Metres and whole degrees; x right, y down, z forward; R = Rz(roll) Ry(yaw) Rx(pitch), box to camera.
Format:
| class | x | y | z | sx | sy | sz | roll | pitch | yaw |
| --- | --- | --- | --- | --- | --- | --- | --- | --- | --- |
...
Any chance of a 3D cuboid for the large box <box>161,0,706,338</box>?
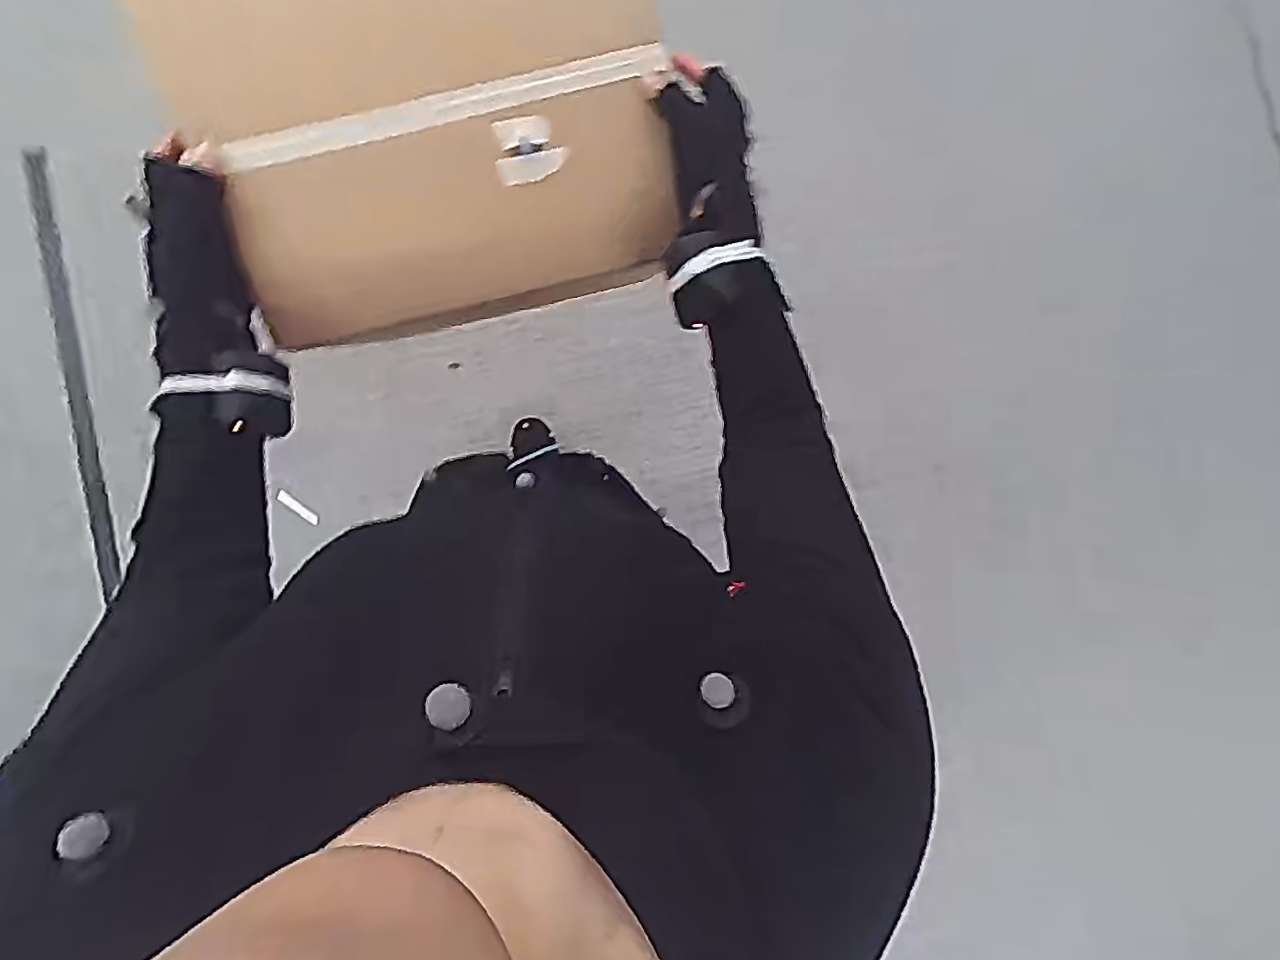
| class | x | y | z | sx | sy | sz | roll | pitch | yaw |
| --- | --- | --- | --- | --- | --- | --- | --- | --- | --- |
| large box | -0.181 | -0.363 | 0.611 | 0.408 | 0.320 | 0.320 | -15 | 108 | -4 |
